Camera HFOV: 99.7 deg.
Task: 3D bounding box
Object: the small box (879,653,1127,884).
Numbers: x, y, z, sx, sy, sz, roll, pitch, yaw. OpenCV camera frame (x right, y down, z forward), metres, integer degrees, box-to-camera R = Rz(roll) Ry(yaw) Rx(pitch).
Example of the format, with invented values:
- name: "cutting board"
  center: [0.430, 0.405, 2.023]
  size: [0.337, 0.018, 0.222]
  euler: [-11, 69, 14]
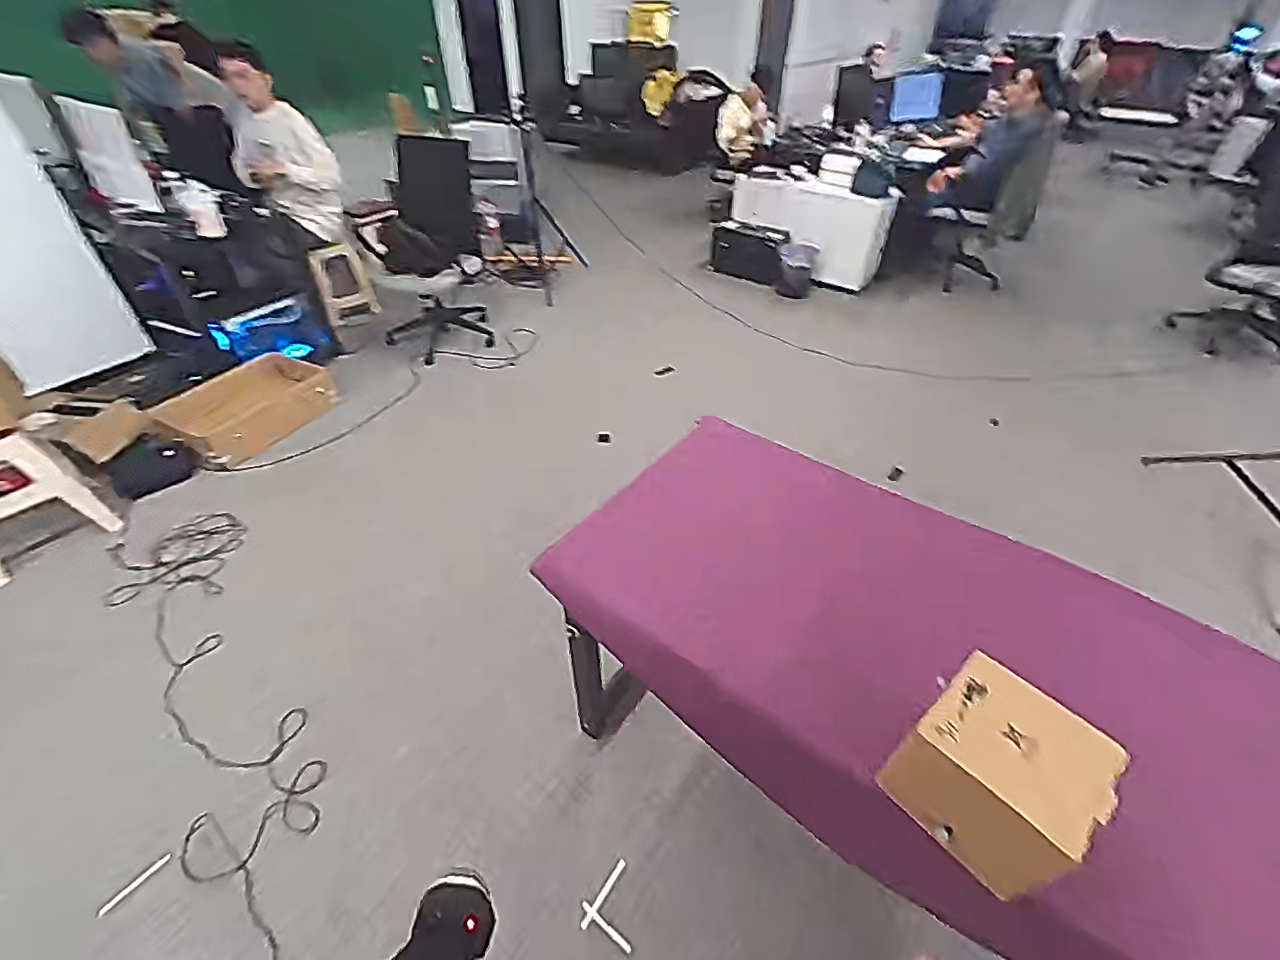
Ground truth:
- name: "small box"
  center: [0.441, 0.365, 0.681]
  size: [0.168, 0.176, 0.179]
  euler: [-28, 50, -30]
